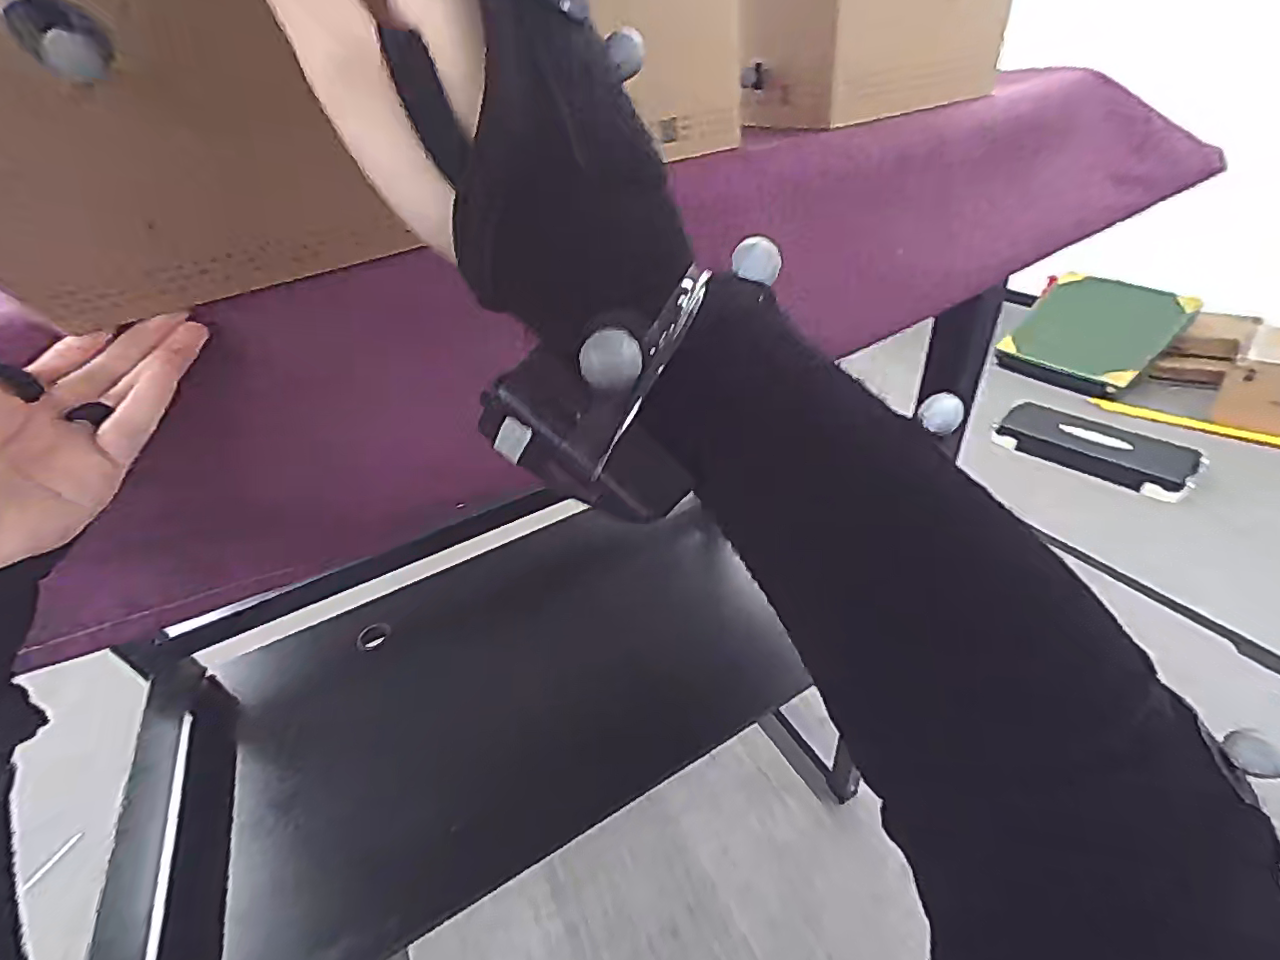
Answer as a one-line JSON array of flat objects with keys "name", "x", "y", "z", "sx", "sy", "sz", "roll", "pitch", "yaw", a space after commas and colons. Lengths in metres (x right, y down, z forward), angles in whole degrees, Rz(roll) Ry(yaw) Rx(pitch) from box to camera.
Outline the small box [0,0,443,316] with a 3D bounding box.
[{"name": "small box", "x": -0.190, "y": -0.185, "z": 0.191, "sx": 0.179, "sy": 0.176, "sz": 0.168, "roll": -24, "pitch": 84, "yaw": -19}]

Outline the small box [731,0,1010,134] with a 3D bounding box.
[{"name": "small box", "x": 0.185, "y": -0.404, "z": 0.452, "sx": 0.179, "sy": 0.176, "sz": 0.168, "roll": -20, "pitch": 38, "yaw": -15}]
